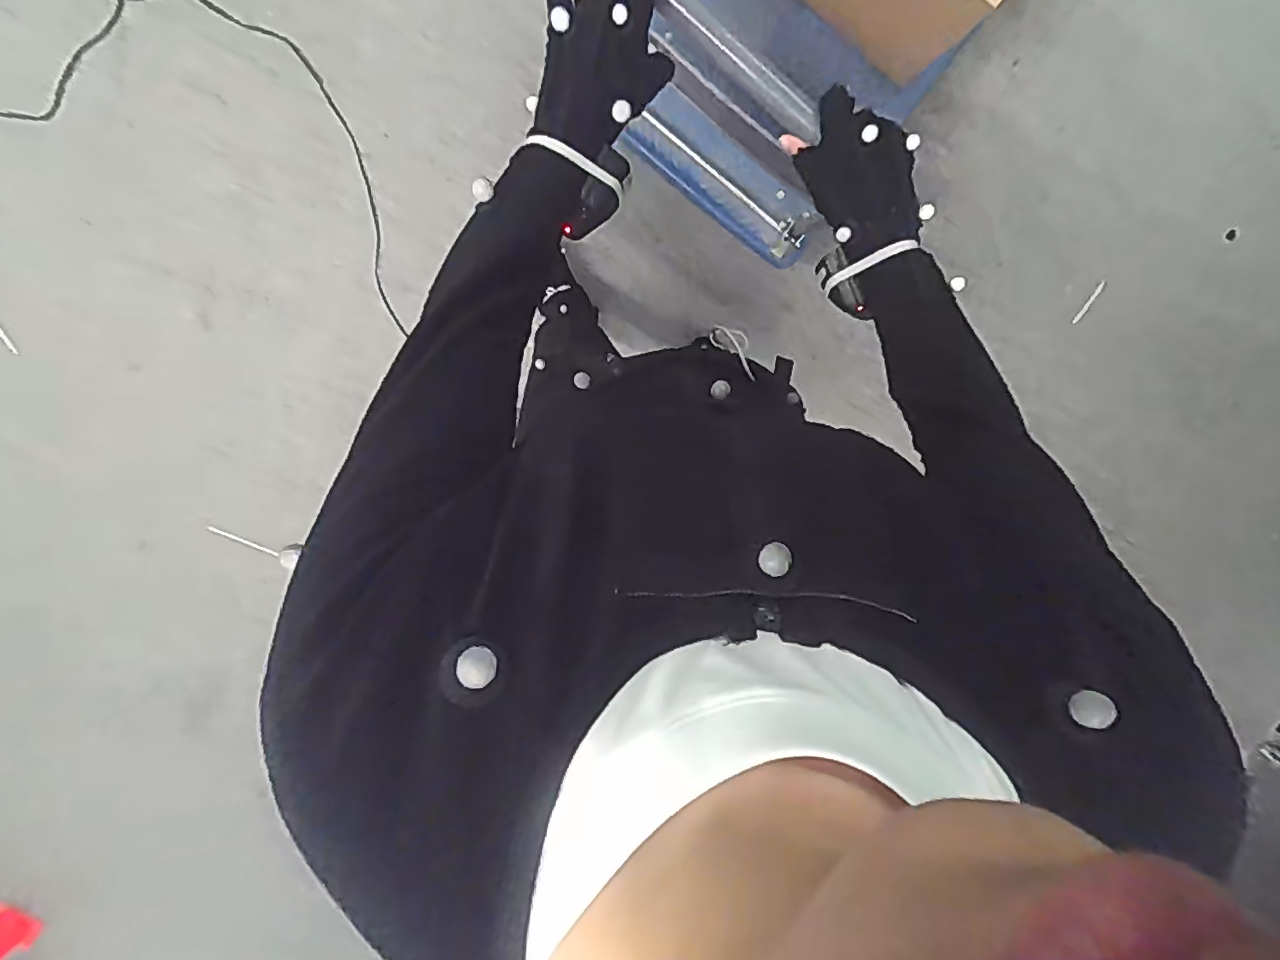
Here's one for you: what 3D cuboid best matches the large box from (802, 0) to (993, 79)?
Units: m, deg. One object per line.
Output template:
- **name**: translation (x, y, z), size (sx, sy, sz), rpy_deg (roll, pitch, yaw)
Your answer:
- **large box**: translation (0.425, -0.949, 0.845), size (0.408, 0.320, 0.320), rpy_deg (33, 106, -8)
